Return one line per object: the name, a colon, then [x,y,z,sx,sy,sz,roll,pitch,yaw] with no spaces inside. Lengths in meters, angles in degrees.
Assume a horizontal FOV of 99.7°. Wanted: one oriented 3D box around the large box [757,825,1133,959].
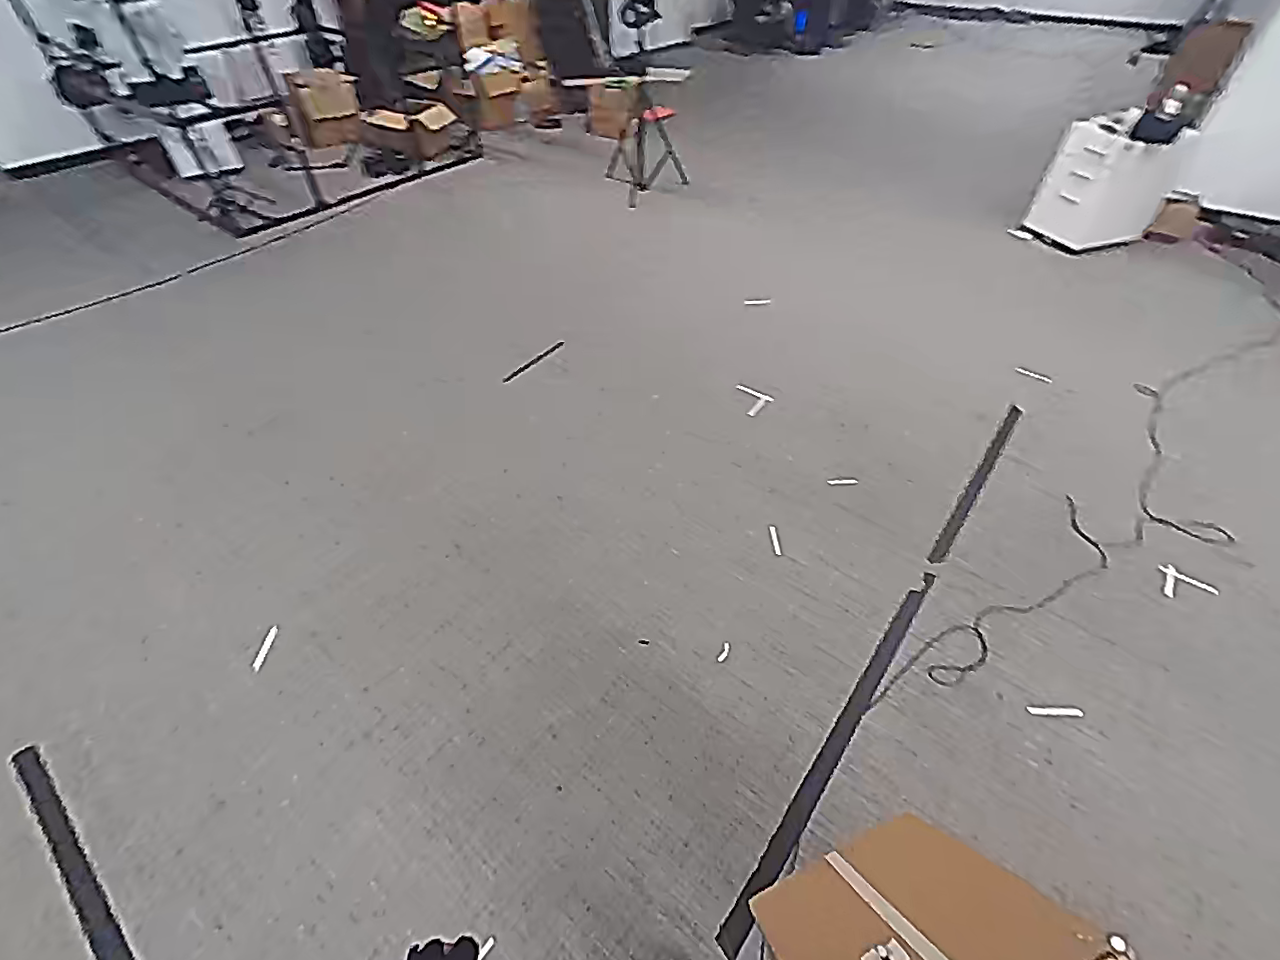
large box: [0.394,0.717,0.669,0.320,0.408,0.320,-21,77,-9]
